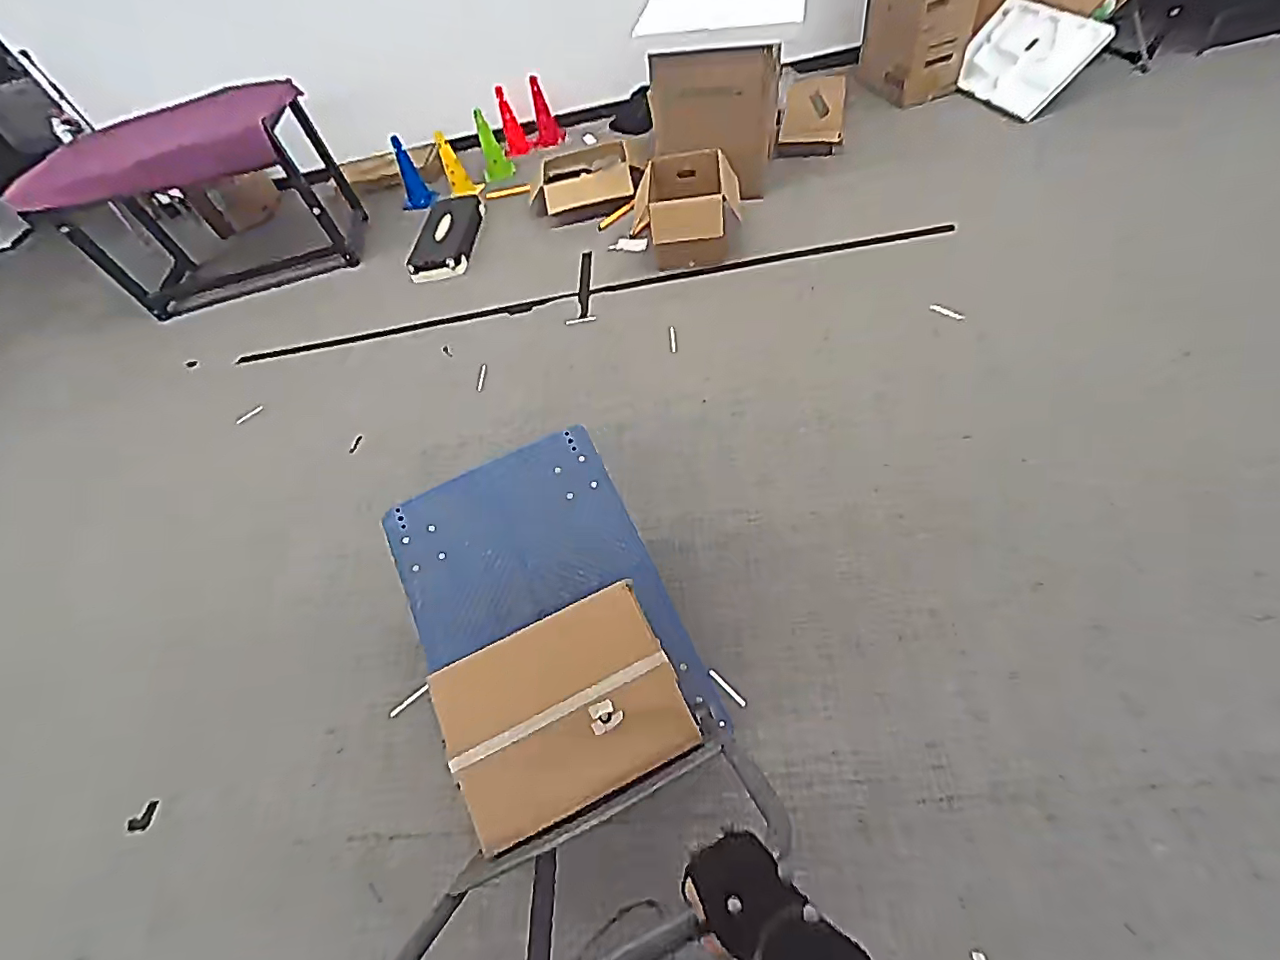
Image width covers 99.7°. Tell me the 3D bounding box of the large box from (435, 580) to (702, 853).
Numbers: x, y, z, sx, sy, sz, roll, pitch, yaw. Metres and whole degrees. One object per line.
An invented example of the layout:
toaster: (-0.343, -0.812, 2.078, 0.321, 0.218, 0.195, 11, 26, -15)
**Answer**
large box: (-0.130, 0.459, 1.104, 0.408, 0.320, 0.320, -26, 71, -8)
